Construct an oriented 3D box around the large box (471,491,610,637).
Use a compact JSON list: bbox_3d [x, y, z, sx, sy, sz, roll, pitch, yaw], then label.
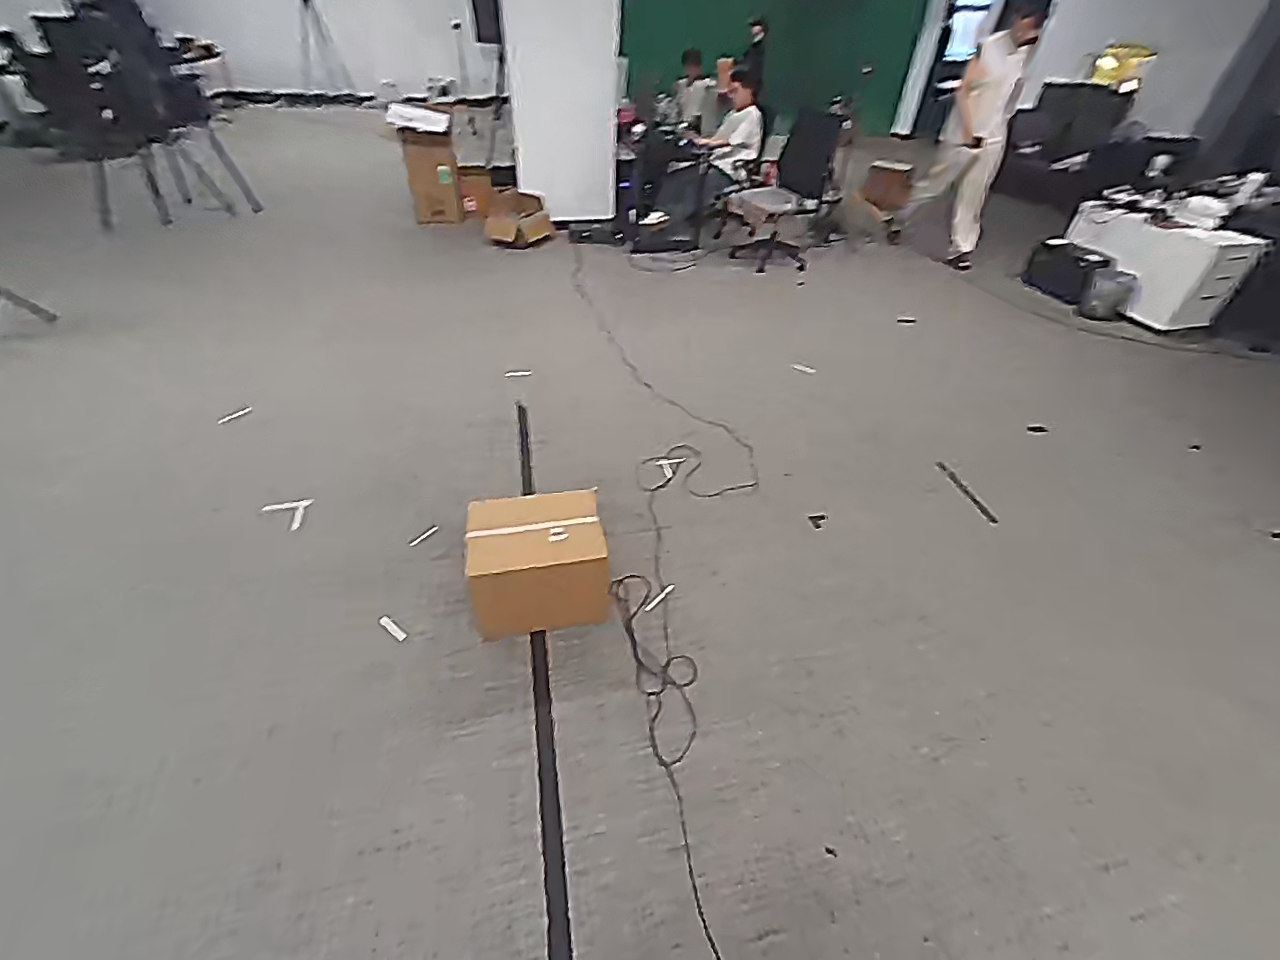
[{"bbox_3d":[-0.321,0.267,1.755,0.408,0.320,0.320,-6,41,-11],"label":"large box"}]
